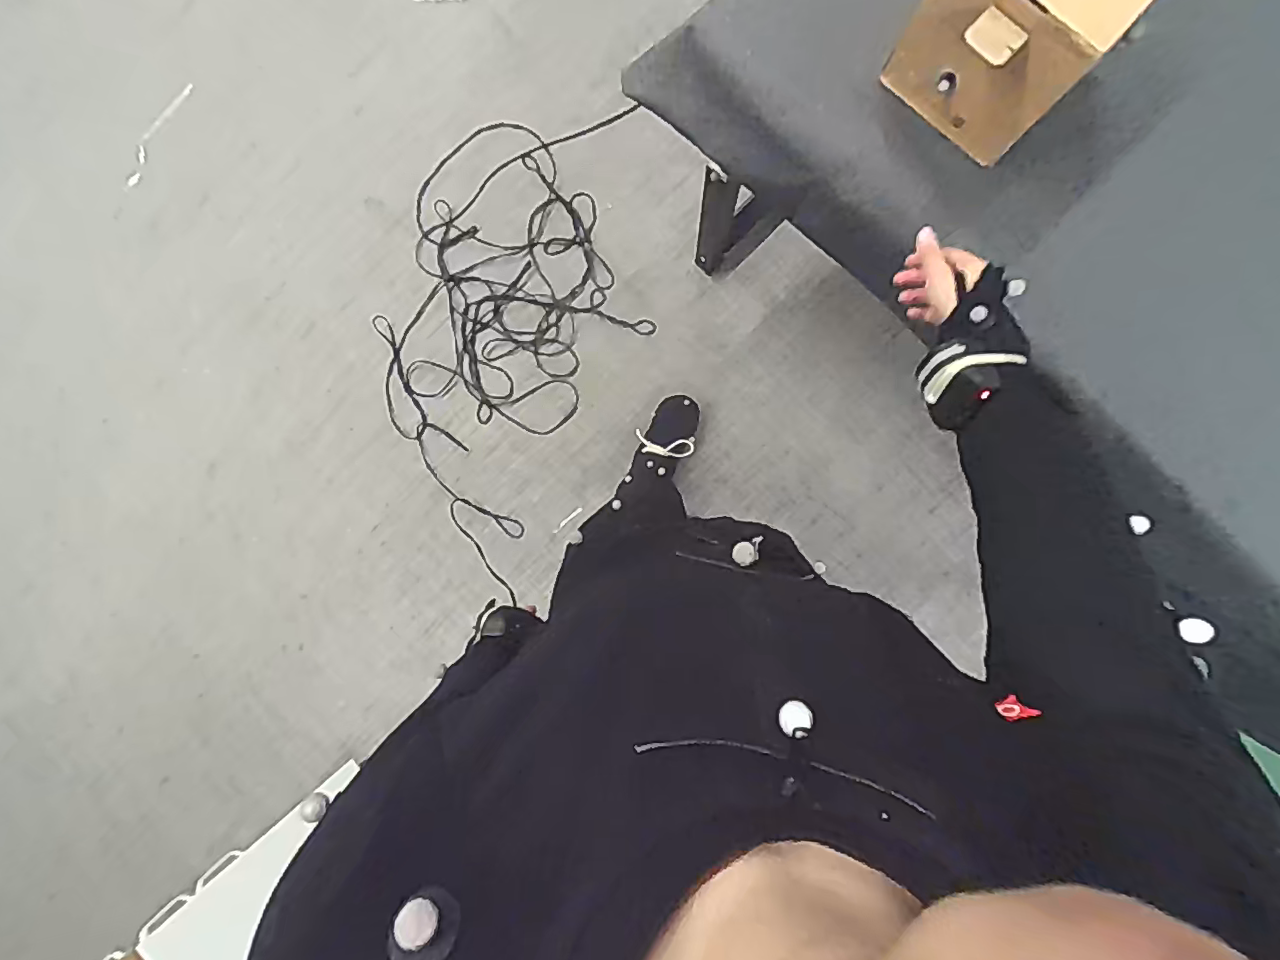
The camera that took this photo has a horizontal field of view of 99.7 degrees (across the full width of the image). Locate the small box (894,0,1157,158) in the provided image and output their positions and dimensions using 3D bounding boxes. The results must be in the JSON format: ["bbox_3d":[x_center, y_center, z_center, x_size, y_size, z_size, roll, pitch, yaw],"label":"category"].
[{"bbox_3d":[0.396,-0.480,0.541,0.168,0.176,0.179,41,92,2],"label":"small box"}]
